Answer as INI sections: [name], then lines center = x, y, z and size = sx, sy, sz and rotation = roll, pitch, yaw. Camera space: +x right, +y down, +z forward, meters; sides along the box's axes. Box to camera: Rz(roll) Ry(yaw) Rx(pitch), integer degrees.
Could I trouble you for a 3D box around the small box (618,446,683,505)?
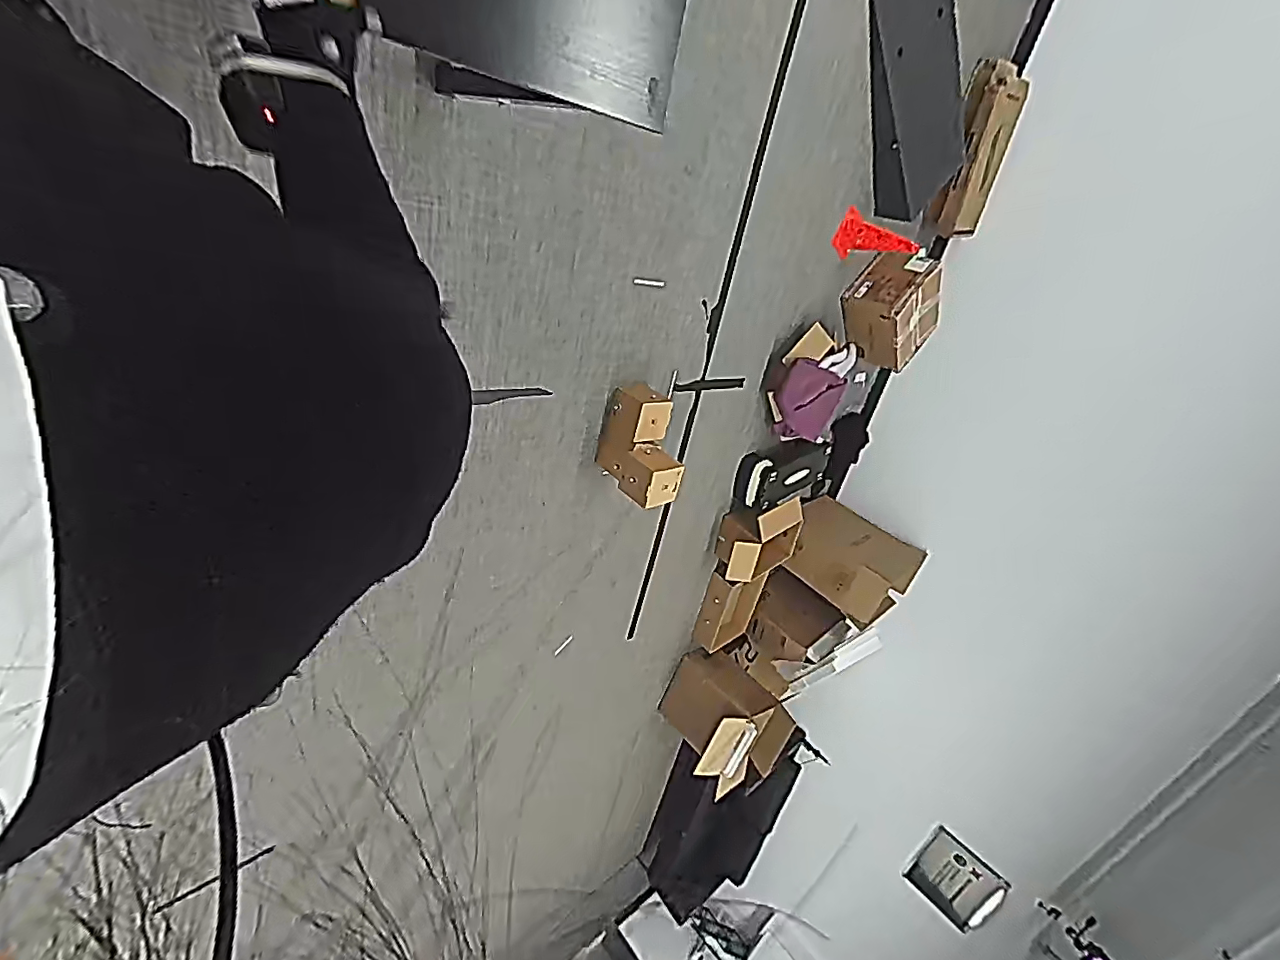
[small box]
center = 0.037, -0.022, 2.142
size = 0.179, 0.176, 0.168
rotation = -12, 127, -41
